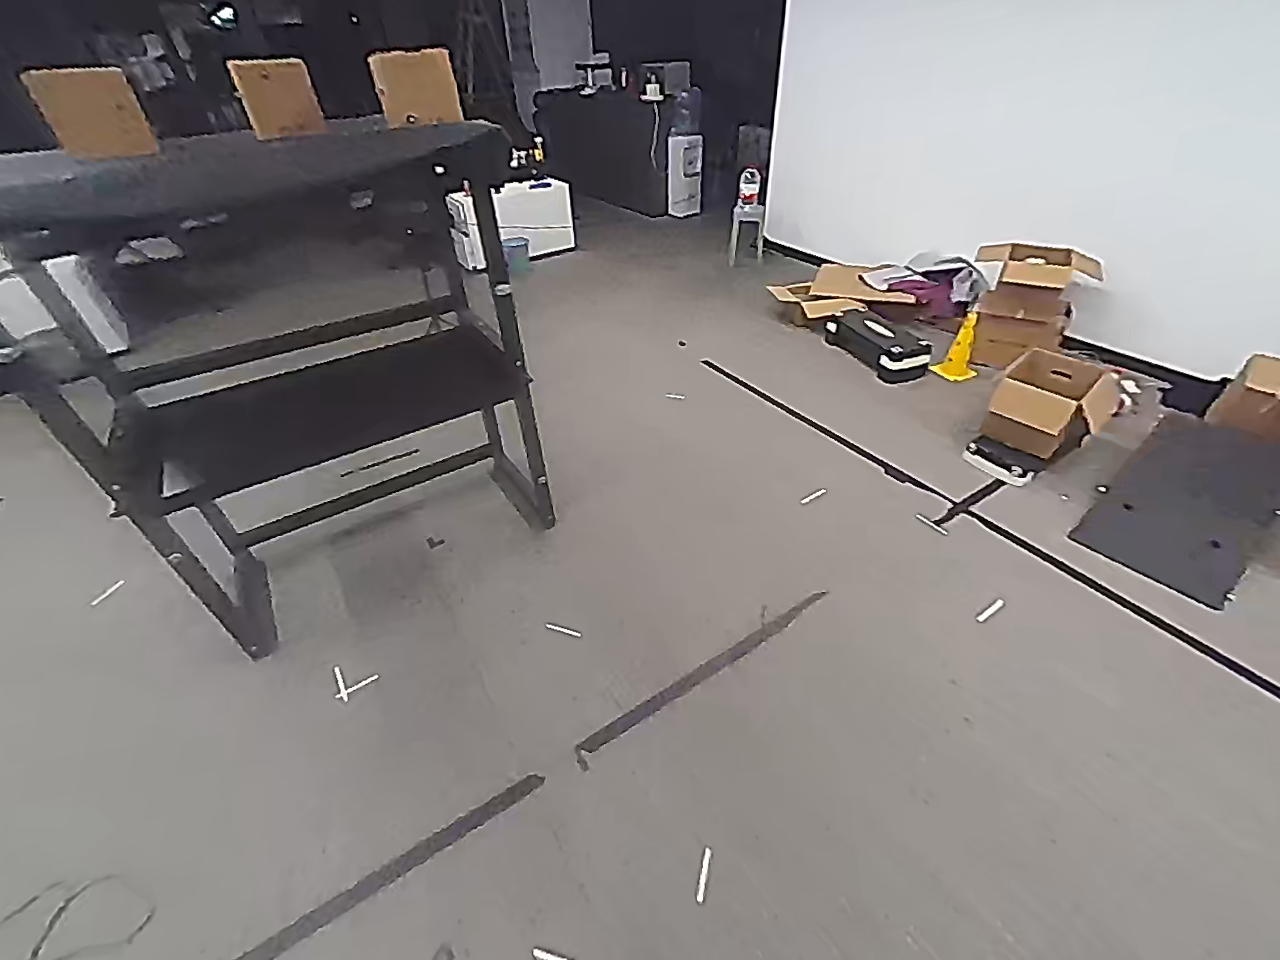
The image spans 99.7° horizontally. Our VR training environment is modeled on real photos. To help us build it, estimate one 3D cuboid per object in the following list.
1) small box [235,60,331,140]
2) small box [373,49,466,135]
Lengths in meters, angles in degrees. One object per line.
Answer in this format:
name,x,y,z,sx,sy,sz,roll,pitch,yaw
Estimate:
small box,-0.981,-1.047,1.491,0.168,0.176,0.179,-25,44,-24
small box,-0.577,-1.018,1.424,0.168,0.176,0.179,-22,39,-22
